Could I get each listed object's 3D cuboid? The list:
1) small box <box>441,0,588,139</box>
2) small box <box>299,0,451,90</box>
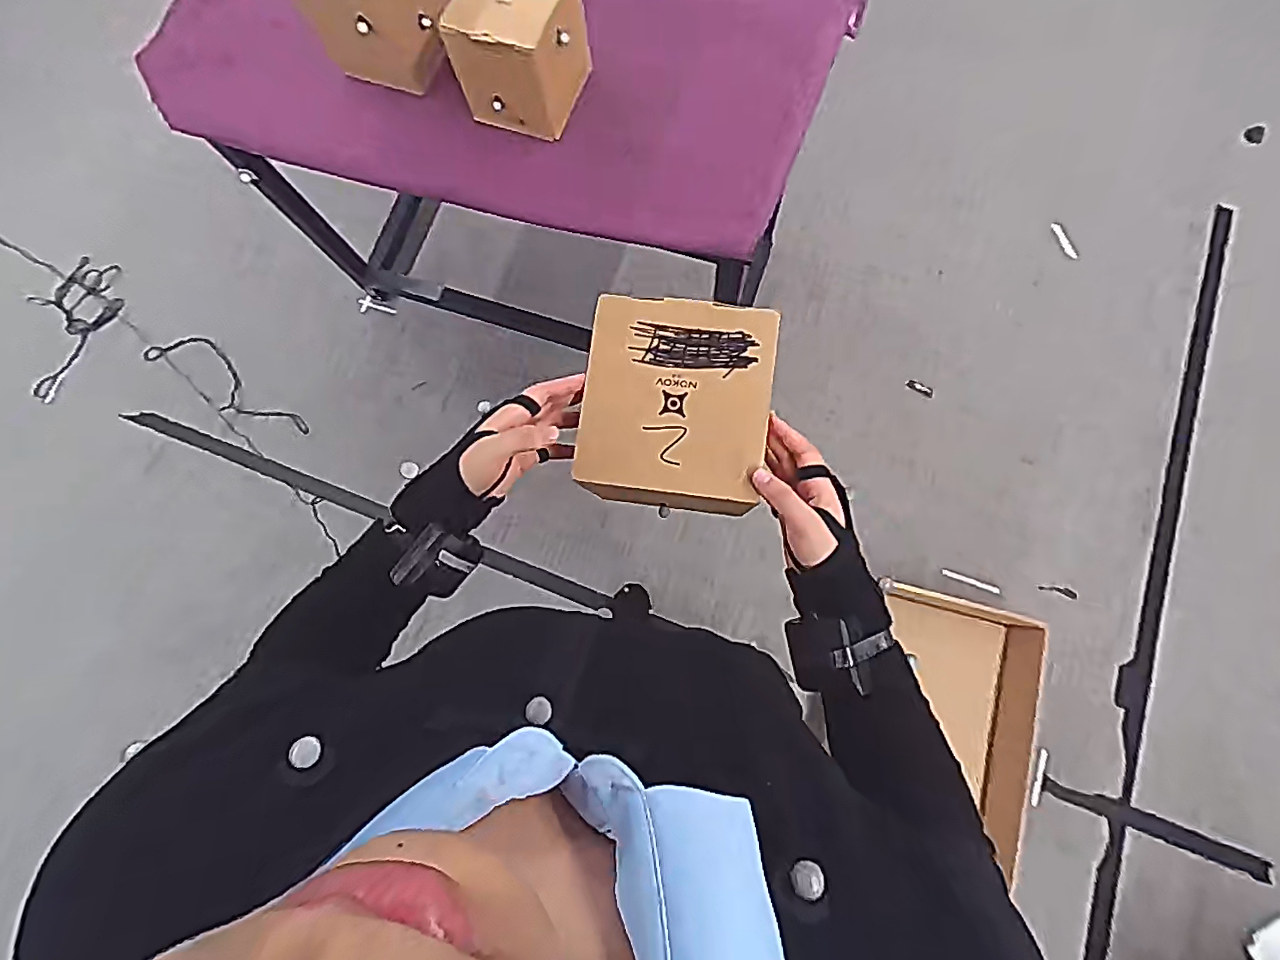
[{"bbox_3d":[-0.196,-0.725,0.906,0.168,0.176,0.179,20,80,8],"label":"small box"},{"bbox_3d":[-0.454,-0.831,0.945,0.179,0.176,0.168,20,80,8],"label":"small box"}]
